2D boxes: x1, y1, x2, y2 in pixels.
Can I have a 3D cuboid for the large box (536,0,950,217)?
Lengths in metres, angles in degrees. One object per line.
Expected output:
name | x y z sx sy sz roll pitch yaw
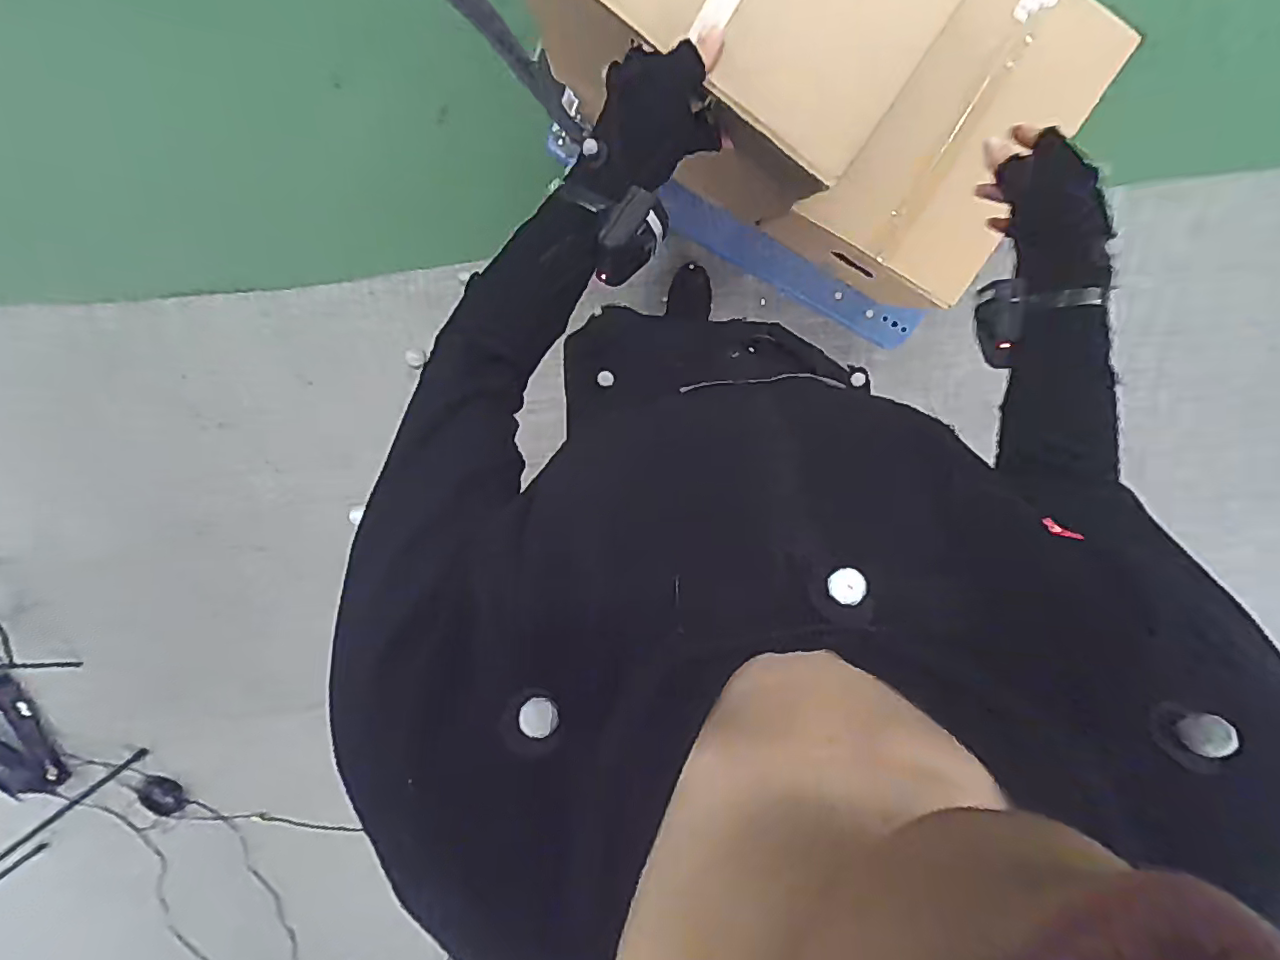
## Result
large box | 0.133 -0.537 0.514 0.320 0.320 0.408 31 106 -13
